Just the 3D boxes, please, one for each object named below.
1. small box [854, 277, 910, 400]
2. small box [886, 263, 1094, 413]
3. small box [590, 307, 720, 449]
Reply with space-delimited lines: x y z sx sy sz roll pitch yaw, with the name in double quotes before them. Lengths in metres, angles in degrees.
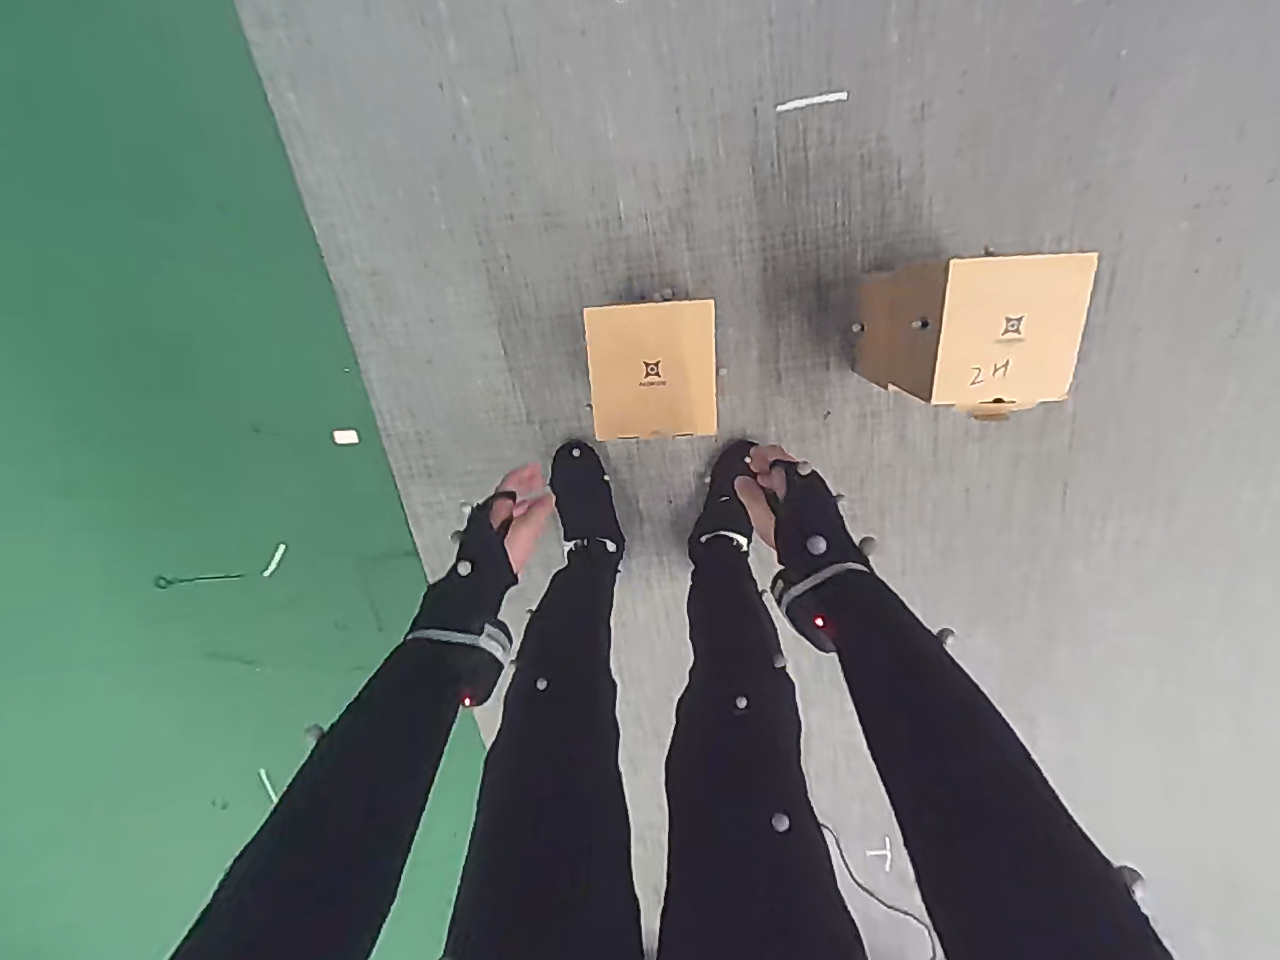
"small box" 0.463 -0.241 0.890 0.168 0.176 0.179 -5 111 5
"small box" 0.452 -0.193 0.732 0.168 0.176 0.179 0 110 5
"small box" 0.024 -0.154 0.777 0.168 0.176 0.179 -3 110 4
